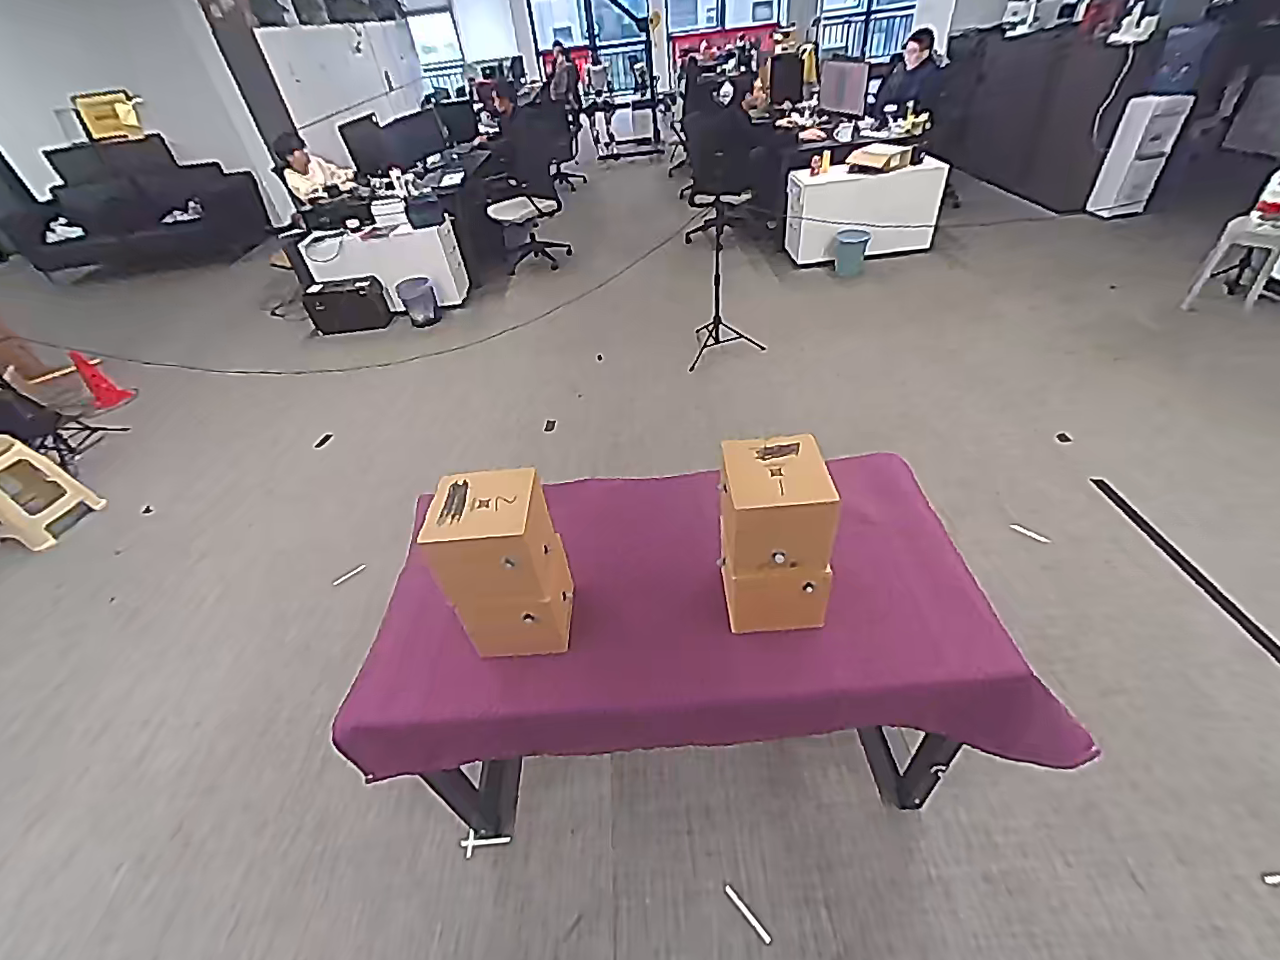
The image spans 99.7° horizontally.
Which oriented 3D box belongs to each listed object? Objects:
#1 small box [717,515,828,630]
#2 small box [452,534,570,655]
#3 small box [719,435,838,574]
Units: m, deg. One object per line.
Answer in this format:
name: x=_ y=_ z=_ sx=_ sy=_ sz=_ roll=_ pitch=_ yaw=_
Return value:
small box: x=0.247 y=0.174 z=1.046 sx=0.179 sy=0.176 sz=0.168 roll=-5 pitch=41 yaw=3
small box: x=-0.238 y=0.226 z=1.057 sx=0.179 sy=0.176 sz=0.168 roll=-4 pitch=41 yaw=3
small box: x=0.229 y=0.043 z=0.947 sx=0.168 sy=0.176 sz=0.179 roll=-5 pitch=41 yaw=3
